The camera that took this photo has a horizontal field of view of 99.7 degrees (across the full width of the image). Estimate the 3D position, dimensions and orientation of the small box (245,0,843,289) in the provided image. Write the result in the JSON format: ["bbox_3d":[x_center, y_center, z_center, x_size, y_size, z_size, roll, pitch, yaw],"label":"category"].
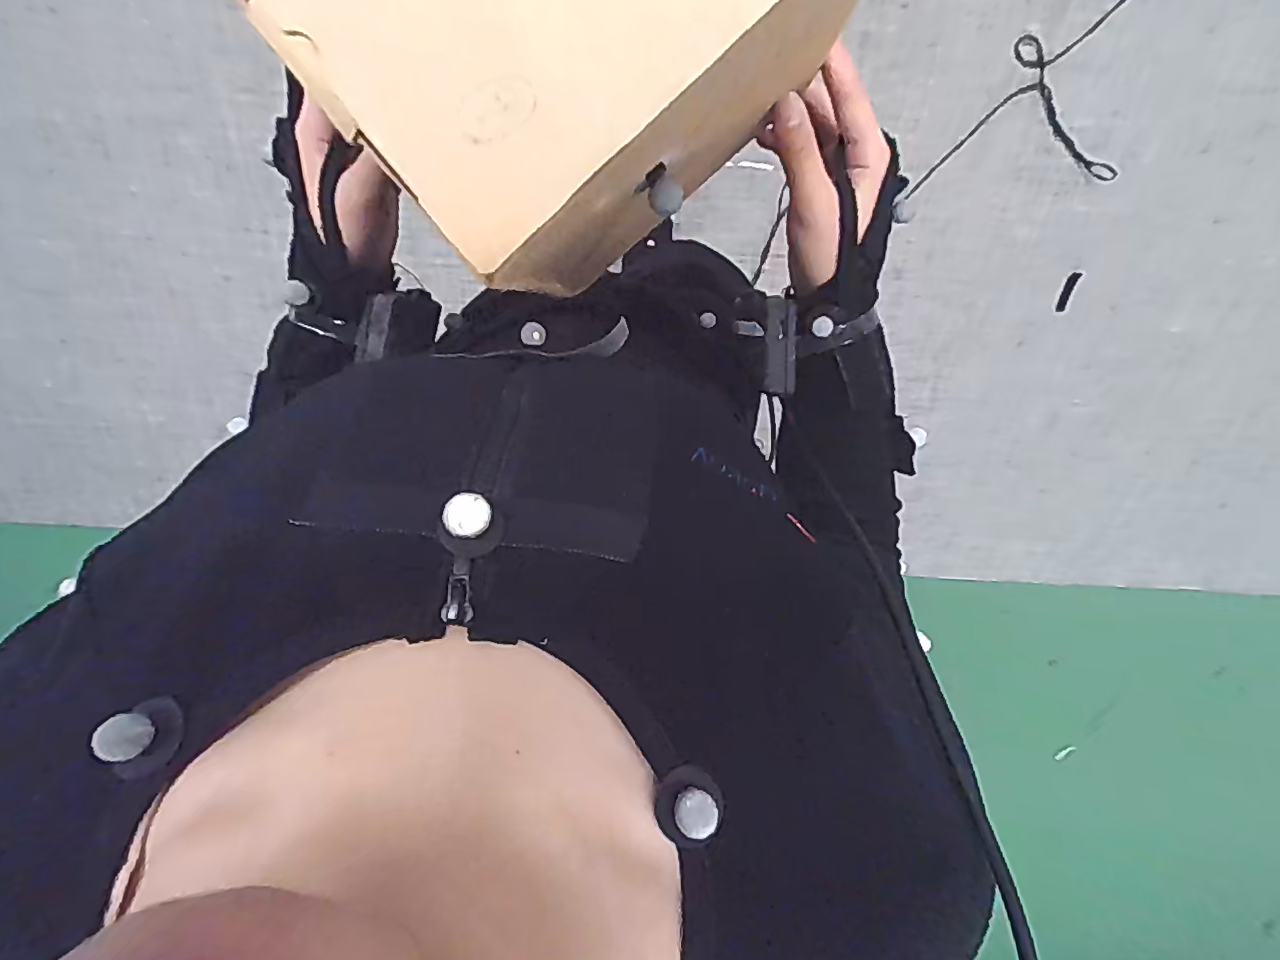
[{"bbox_3d":[-0.029,-0.199,0.226,0.179,0.176,0.168,-37,101,13],"label":"small box"}]
